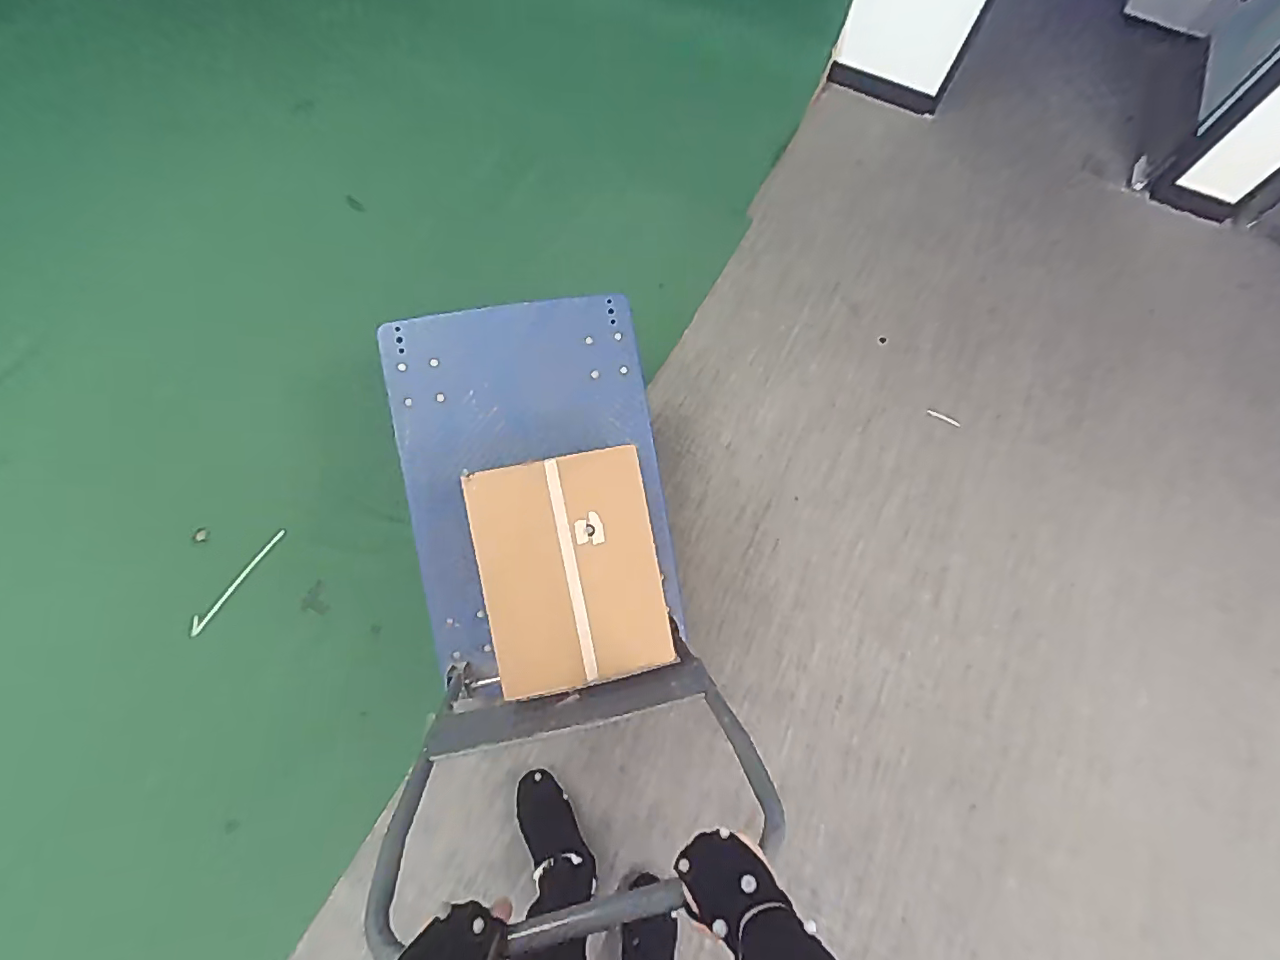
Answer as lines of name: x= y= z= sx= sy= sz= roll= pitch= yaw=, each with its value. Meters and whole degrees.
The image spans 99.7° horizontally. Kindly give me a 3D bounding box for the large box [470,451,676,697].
large box: x=-0.134 y=0.170 z=1.130 sx=0.320 sy=0.320 sz=0.408 roll=-11 pitch=91 yaw=-7
